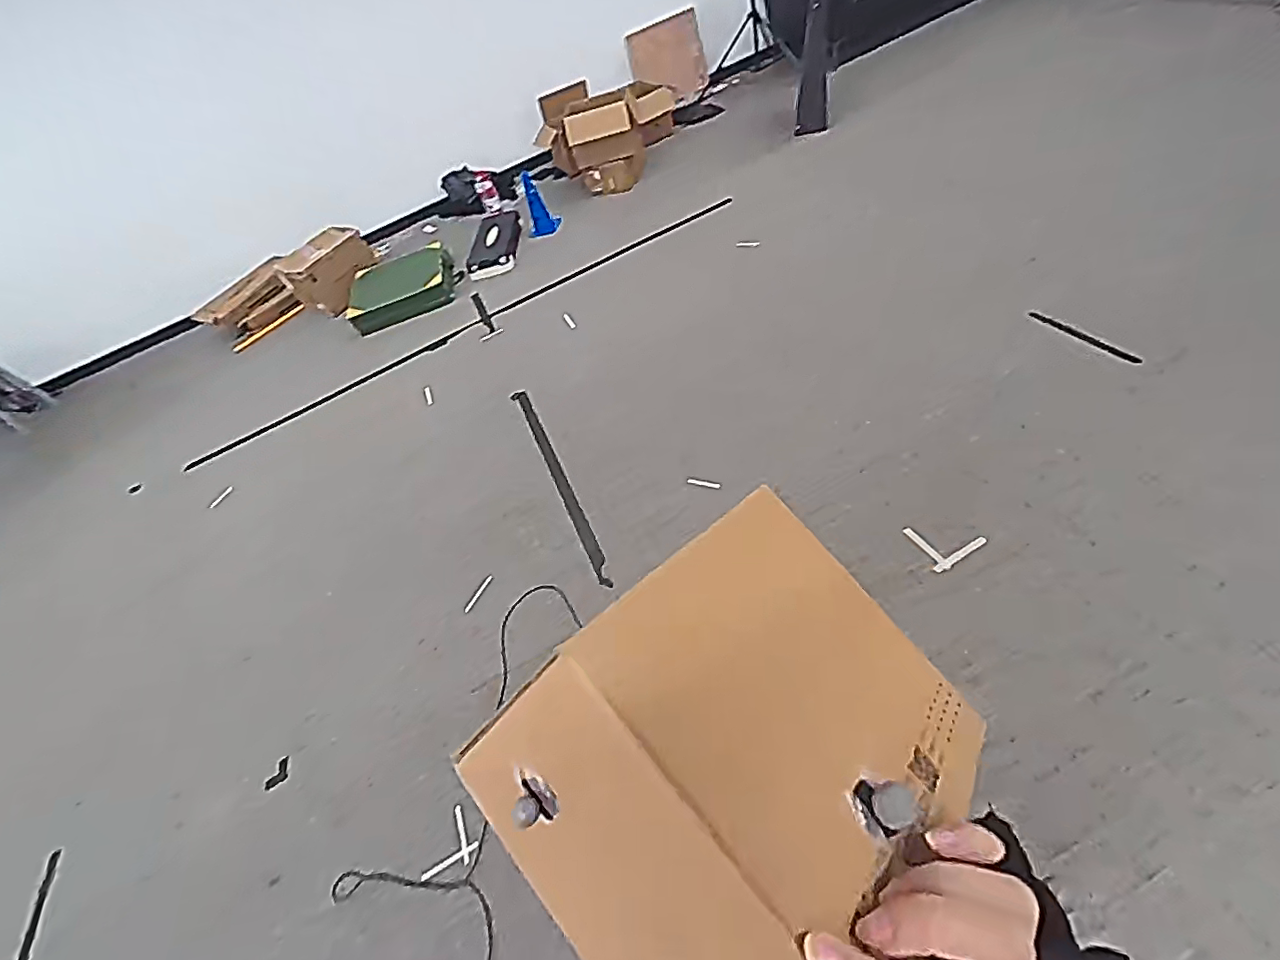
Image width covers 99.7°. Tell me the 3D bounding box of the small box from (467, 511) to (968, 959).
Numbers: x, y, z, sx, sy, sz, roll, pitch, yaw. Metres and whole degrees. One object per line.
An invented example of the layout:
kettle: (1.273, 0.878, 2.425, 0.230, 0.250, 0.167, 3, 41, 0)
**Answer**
small box: (0.036, 0.155, 0.304, 0.176, 0.179, 0.168, 48, 43, 11)
